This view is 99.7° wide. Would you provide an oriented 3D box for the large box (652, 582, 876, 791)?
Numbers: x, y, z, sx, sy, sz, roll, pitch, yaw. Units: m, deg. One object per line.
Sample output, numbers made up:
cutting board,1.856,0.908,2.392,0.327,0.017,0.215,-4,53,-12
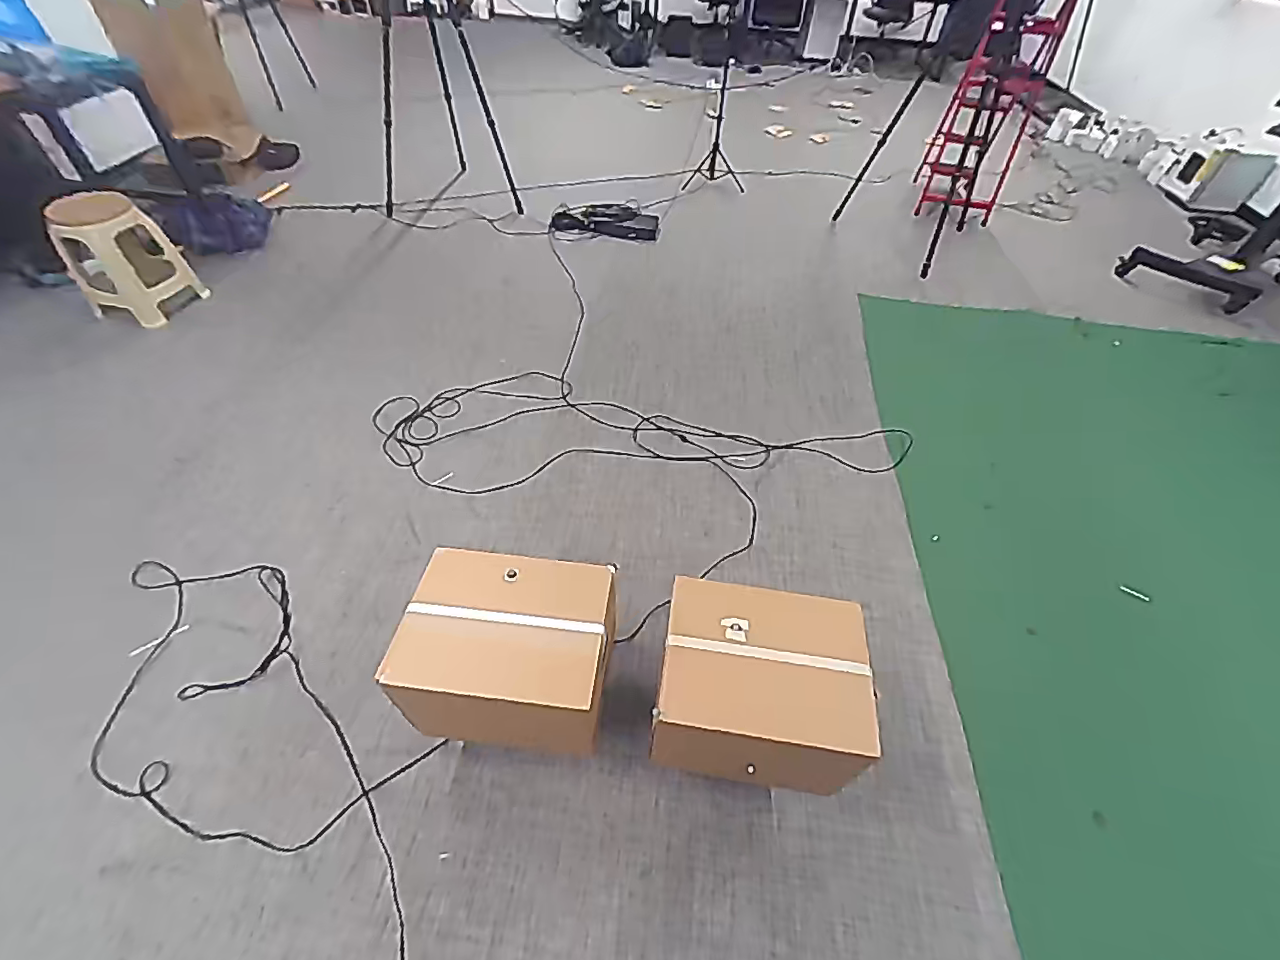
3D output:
large box,0.250,0.460,1.196,0.408,0.320,0.320,8,48,5
